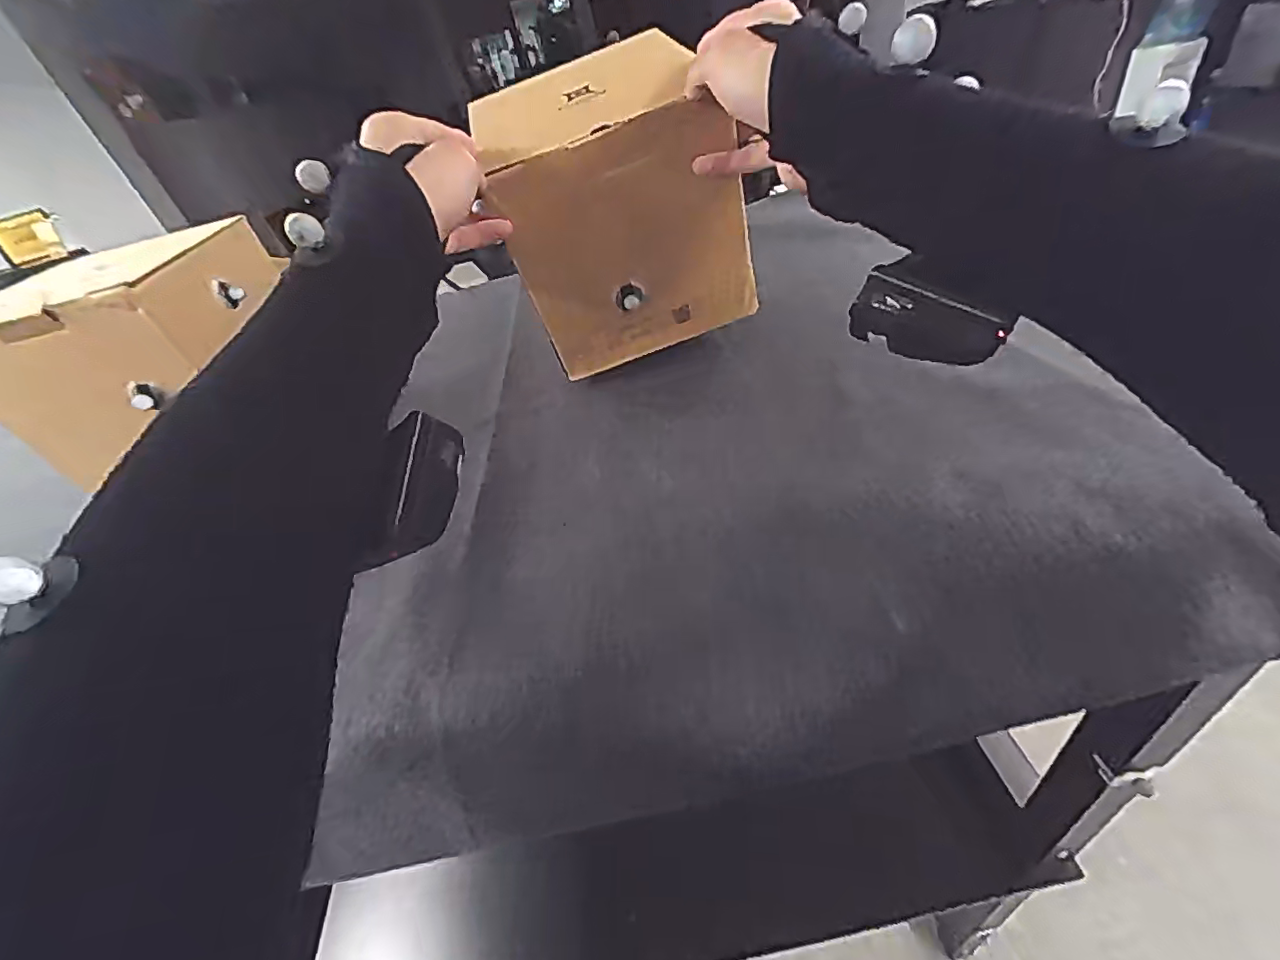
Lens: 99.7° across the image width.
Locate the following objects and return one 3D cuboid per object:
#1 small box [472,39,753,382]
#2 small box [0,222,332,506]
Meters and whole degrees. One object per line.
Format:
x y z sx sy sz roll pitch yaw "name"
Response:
-0.020 -0.211 0.435 0.168 0.176 0.179 -20 49 2 "small box"
-0.407 -0.095 0.470 0.168 0.176 0.179 -13 41 3 "small box"
